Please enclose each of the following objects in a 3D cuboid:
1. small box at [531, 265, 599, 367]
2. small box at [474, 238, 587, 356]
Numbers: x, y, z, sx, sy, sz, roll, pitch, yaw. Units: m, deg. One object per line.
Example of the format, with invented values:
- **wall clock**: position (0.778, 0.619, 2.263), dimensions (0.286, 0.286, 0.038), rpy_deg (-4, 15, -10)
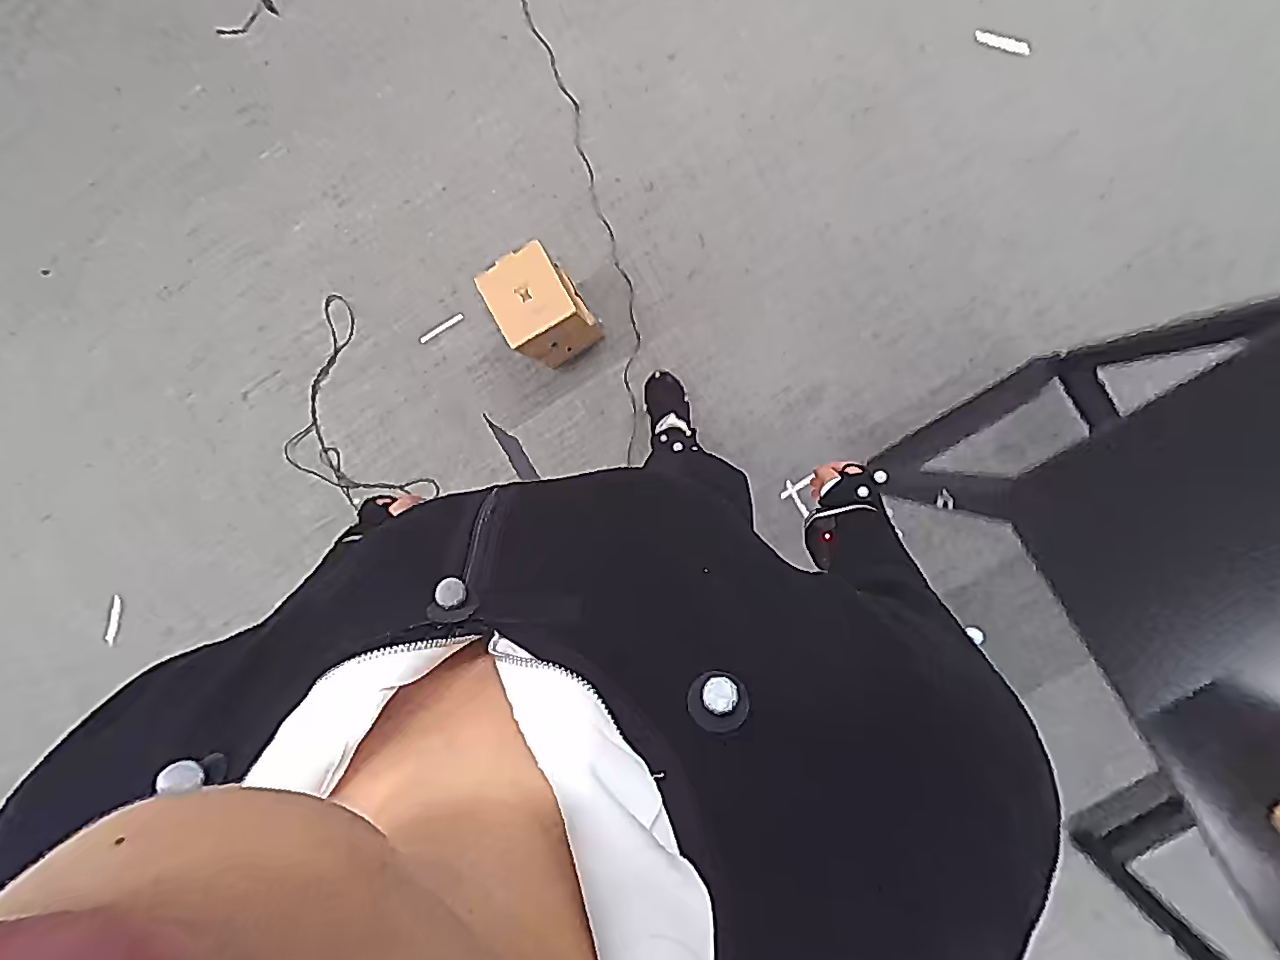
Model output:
- **small box**: position (-0.219, -0.411, 1.385), dimensions (0.179, 0.176, 0.168), rpy_deg (-32, 91, 6)
- **small box**: position (-0.239, -0.402, 1.224), dimensions (0.168, 0.176, 0.179), rpy_deg (-30, 92, 7)
